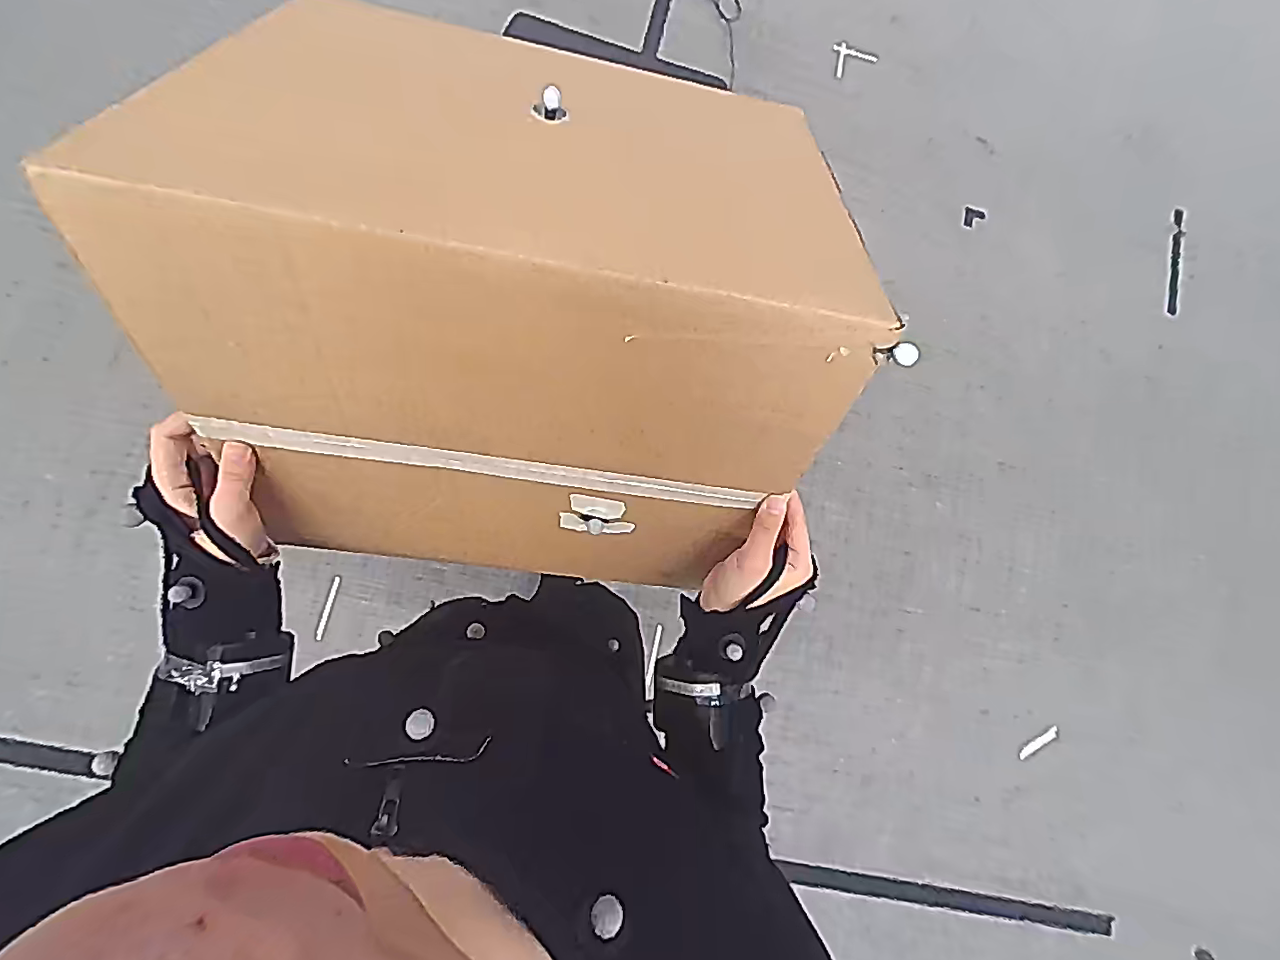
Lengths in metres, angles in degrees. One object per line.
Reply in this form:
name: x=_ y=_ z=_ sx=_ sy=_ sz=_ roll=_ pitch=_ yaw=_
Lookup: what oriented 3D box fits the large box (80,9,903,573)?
large box: x=-0.080 y=-0.141 z=0.468 sx=0.408 sy=0.320 sz=0.320 roll=7 pitch=53 yaw=-8
